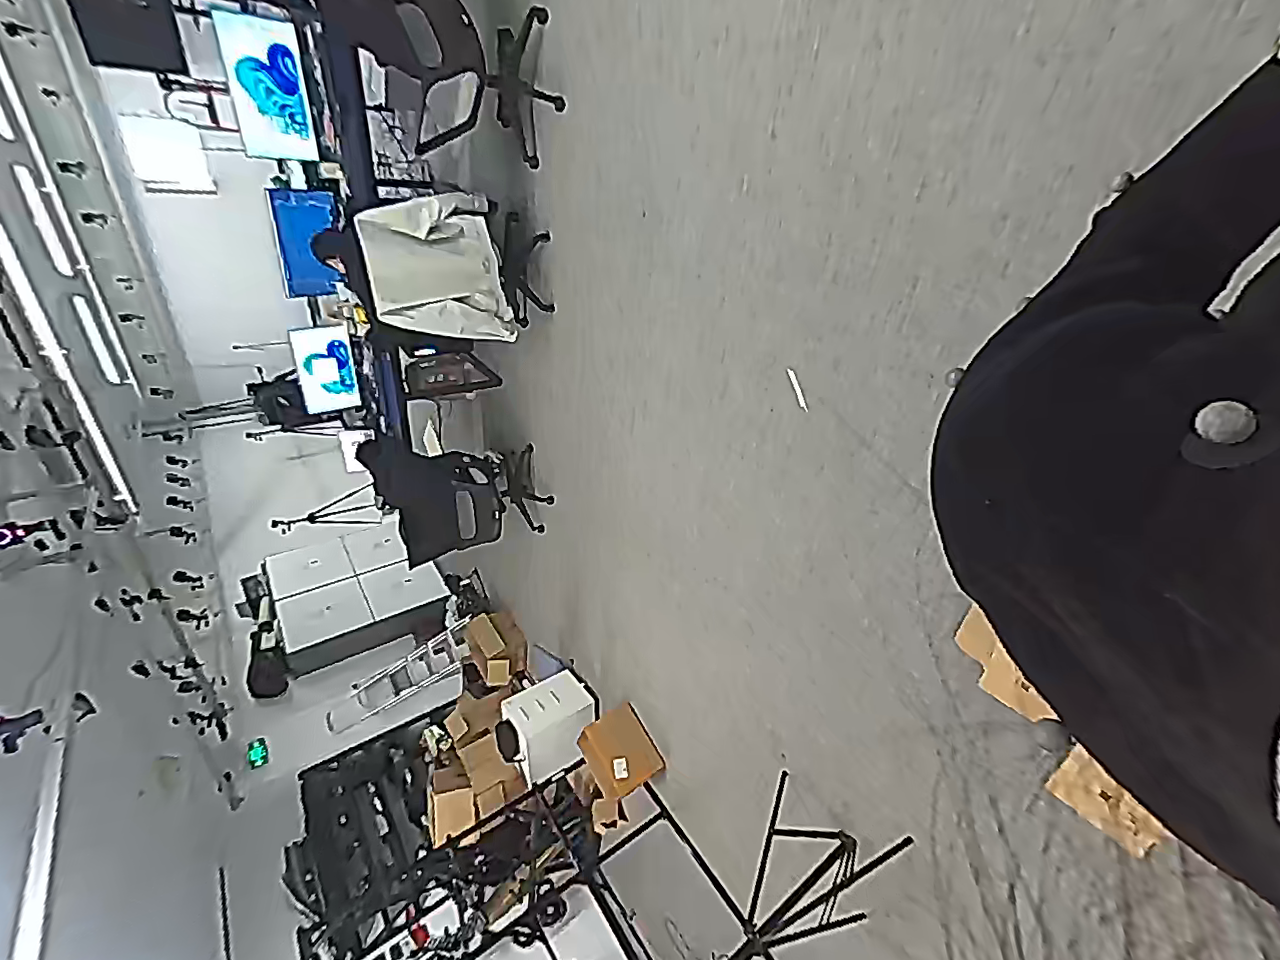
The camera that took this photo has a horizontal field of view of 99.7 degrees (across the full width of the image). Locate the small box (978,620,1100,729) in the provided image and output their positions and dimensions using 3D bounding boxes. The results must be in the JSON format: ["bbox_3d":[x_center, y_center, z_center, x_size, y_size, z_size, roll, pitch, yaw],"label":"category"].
[{"bbox_3d":[1.005,0.478,1.365,0.179,0.176,0.168,33,131,44],"label":"small box"}]

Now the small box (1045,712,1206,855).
[{"bbox_3d":[1.003,0.614,1.122,0.179,0.176,0.168,37,134,41],"label":"small box"}]
